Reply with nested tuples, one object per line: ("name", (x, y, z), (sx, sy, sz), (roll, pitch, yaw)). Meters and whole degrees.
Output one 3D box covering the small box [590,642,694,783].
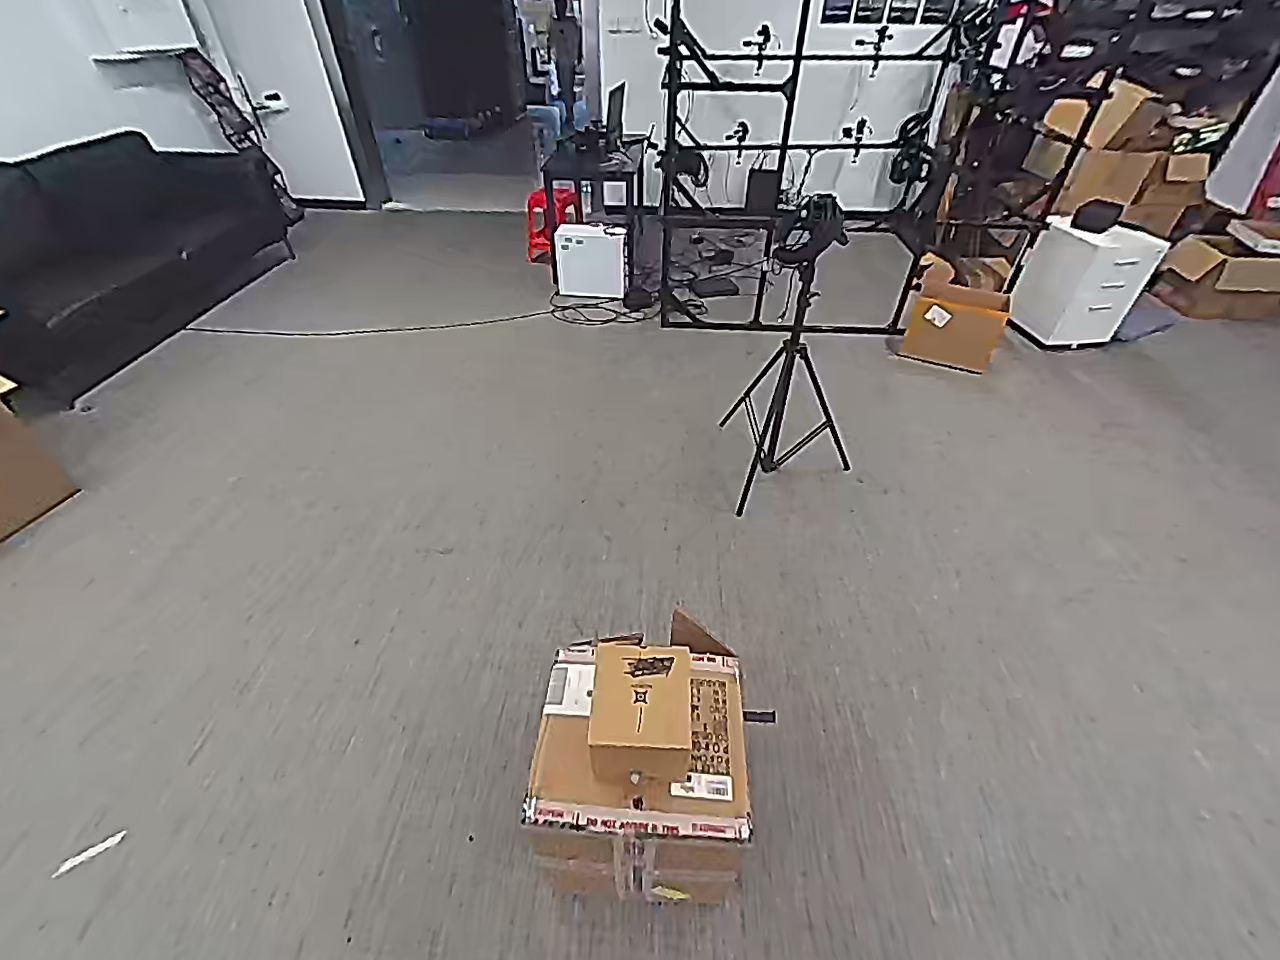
("small box", (0.006, 0.411, 0.956), (0.168, 0.176, 0.179), (2, 45, 2))
